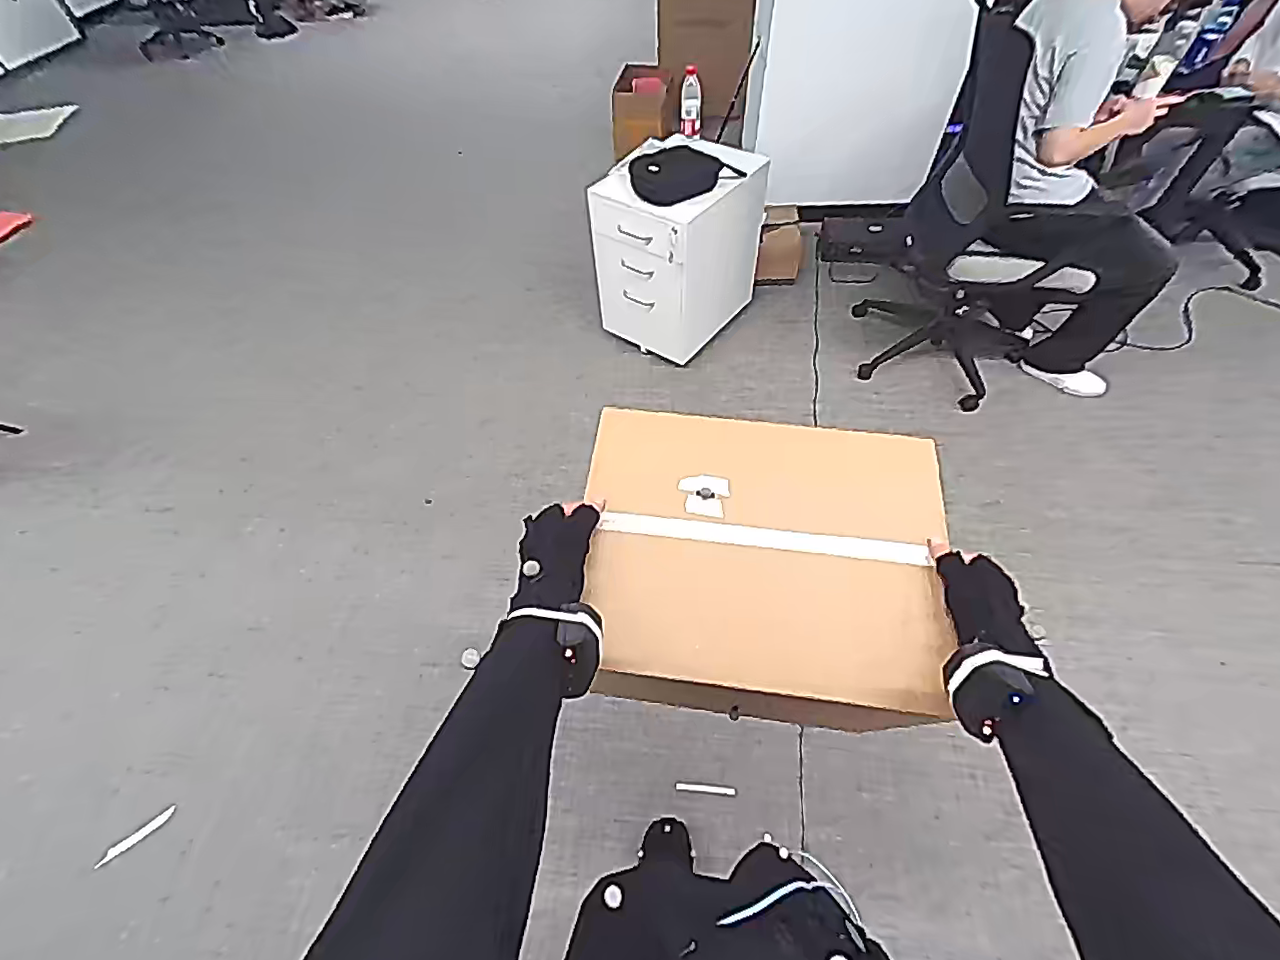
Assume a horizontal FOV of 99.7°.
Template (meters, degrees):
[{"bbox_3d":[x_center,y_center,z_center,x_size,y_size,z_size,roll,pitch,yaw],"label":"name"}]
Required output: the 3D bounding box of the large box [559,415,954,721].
[{"bbox_3d":[0.140,0.135,0.743,0.408,0.320,0.320,6,62,6],"label":"large box"}]
